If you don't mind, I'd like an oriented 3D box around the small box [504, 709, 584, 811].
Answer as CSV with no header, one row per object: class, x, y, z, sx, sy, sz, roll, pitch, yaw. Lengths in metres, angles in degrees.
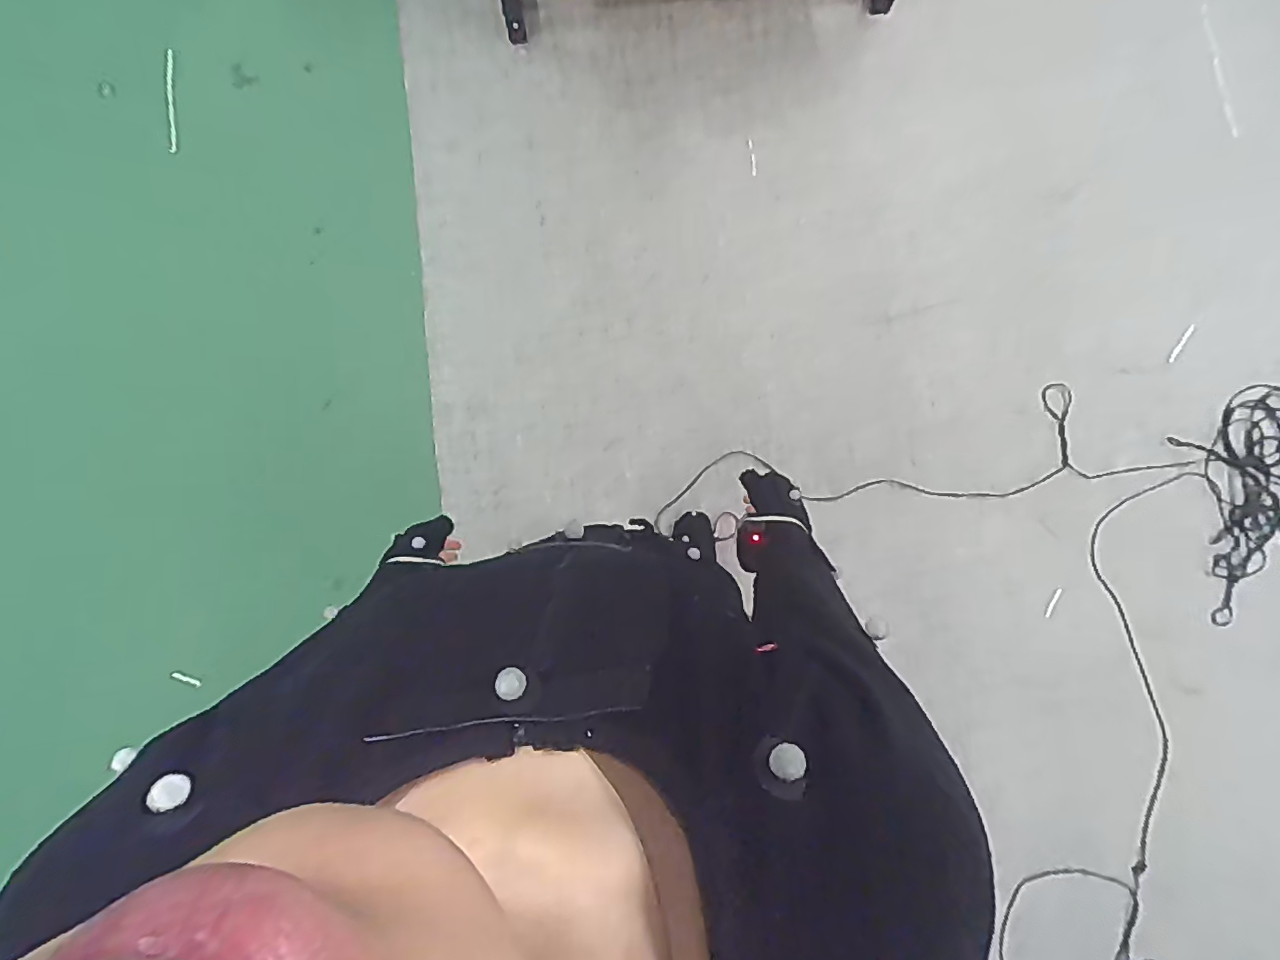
small box,-0.234,0.684,1.345,0.168,0.176,0.179,-7,85,-2
